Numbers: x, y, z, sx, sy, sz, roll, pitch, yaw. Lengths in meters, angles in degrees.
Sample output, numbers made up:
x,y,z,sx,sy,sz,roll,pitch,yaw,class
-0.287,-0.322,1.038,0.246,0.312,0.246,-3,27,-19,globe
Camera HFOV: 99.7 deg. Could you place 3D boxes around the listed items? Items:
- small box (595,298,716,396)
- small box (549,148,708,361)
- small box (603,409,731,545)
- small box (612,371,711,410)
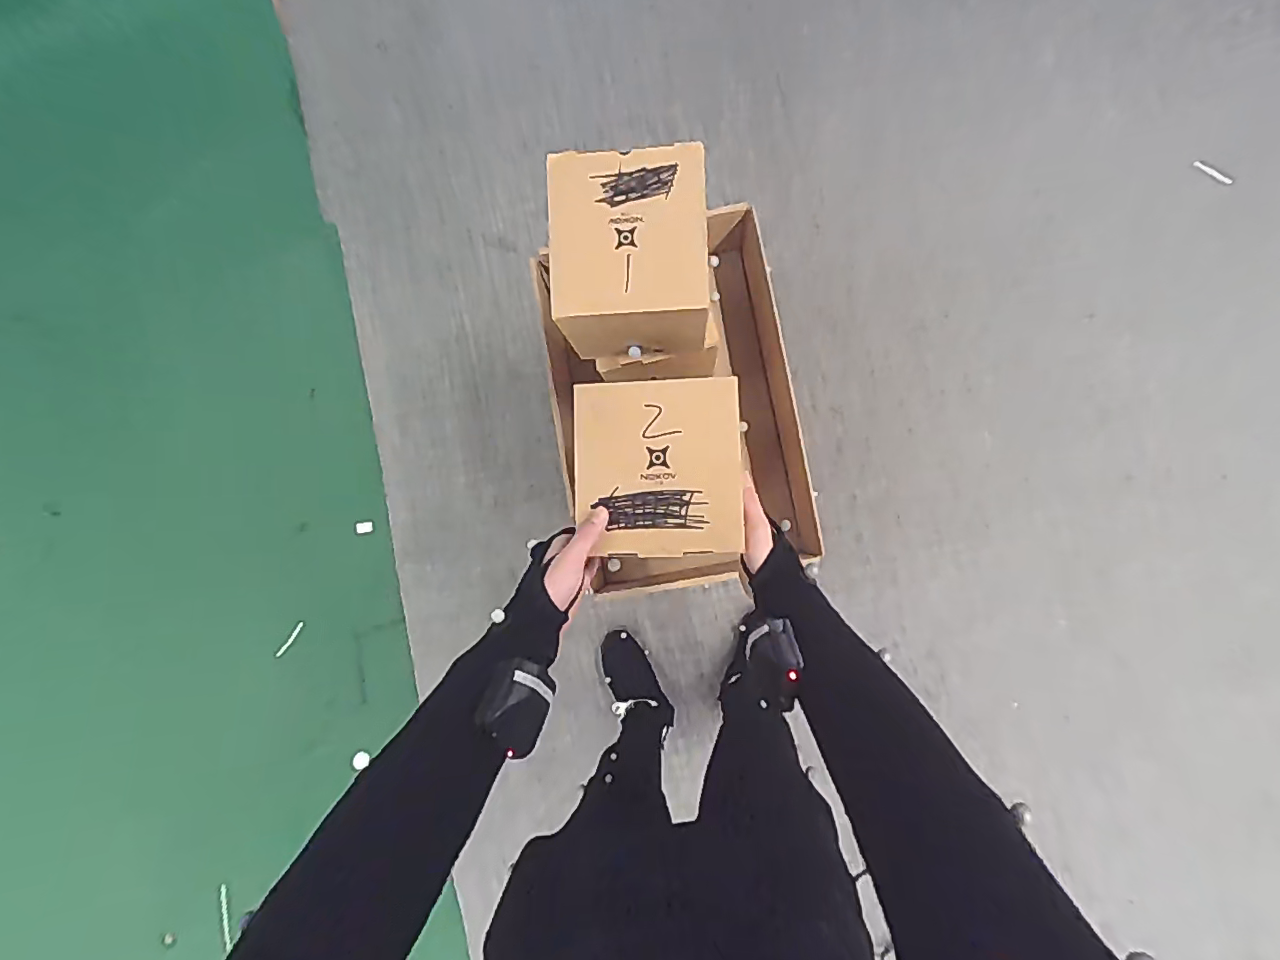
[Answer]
x,y,z,sx,sy,sz,roll,pitch,yaw,class
0.012,-0.239,0.804,0.168,0.176,0.179,-12,86,4,small box
-0.008,-0.252,0.641,0.168,0.176,0.179,-2,87,5,small box
0.043,0.002,0.775,0.168,0.176,0.179,0,83,5,small box
0.028,-0.231,0.965,0.168,0.176,0.179,-11,86,5,small box
